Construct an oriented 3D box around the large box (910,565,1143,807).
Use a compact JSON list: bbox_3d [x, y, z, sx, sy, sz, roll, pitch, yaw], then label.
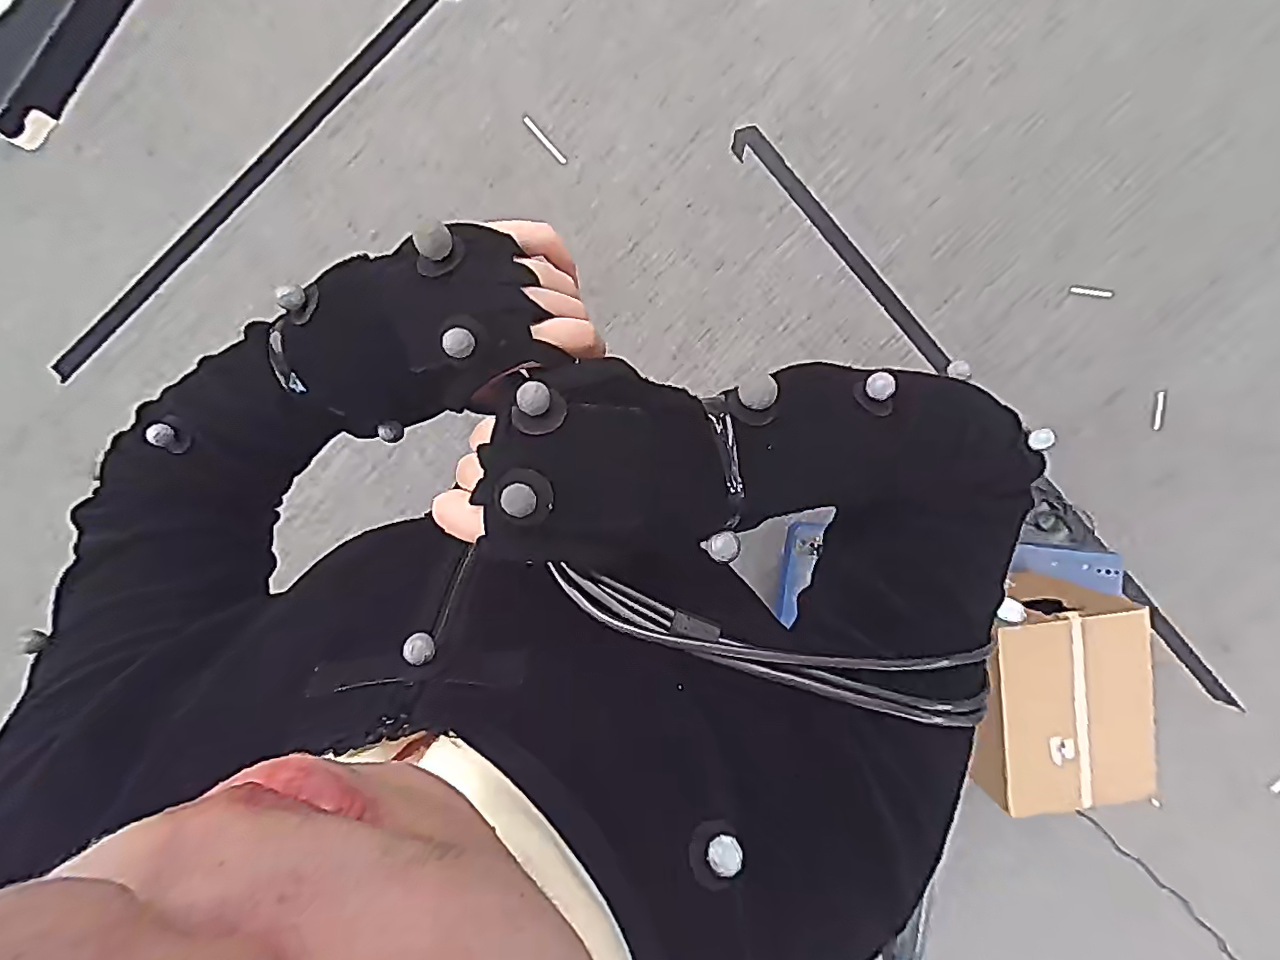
[{"bbox_3d":[0.859,0.442,1.240,0.320,0.320,0.408,-6,96,-1],"label":"large box"}]
